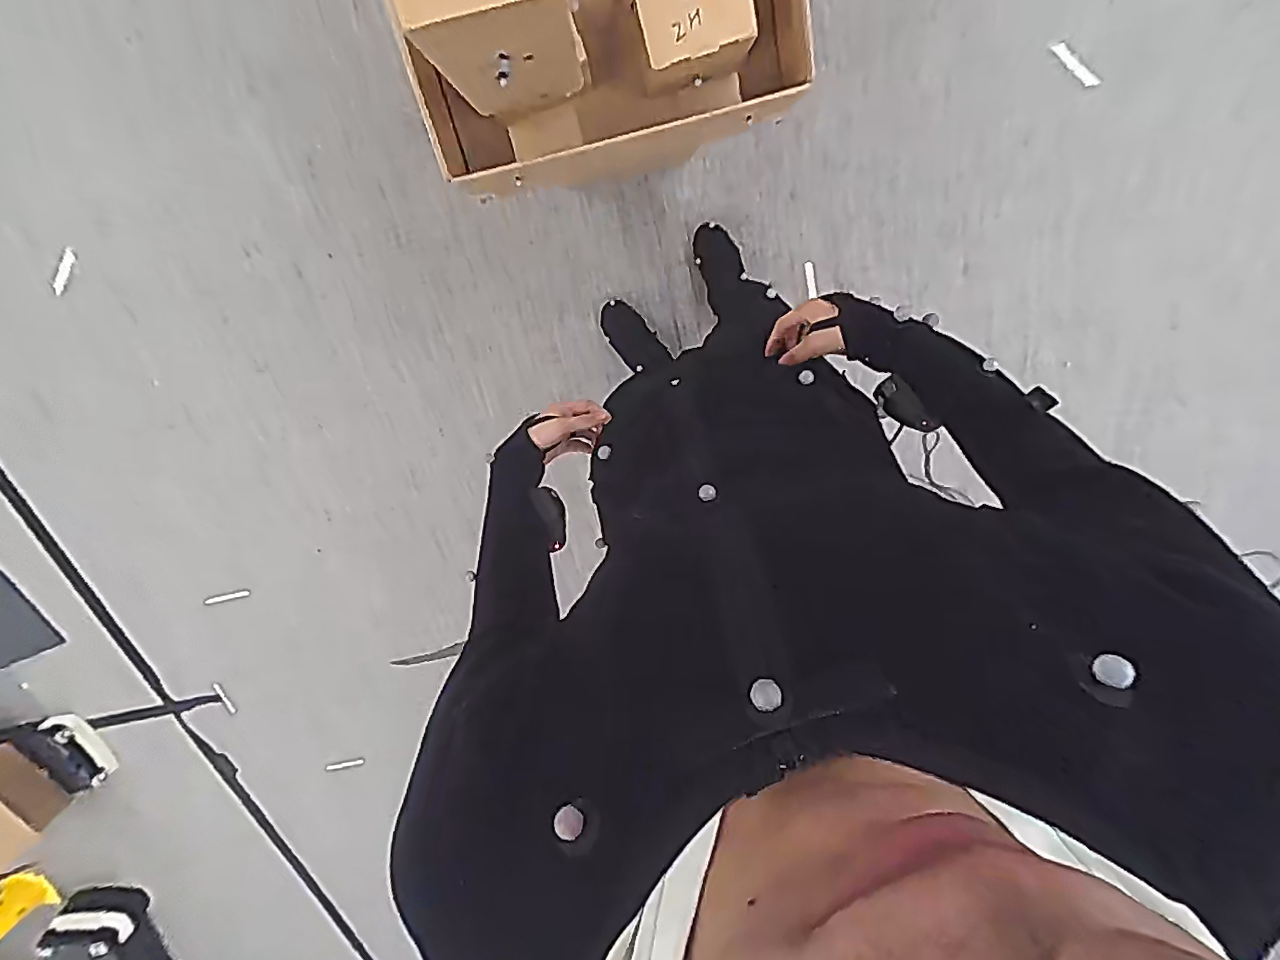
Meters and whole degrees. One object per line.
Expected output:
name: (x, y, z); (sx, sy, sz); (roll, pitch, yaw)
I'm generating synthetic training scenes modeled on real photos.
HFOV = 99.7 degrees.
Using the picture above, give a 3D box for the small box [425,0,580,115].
small box: (-0.183, -0.623, 0.717); (0.168, 0.176, 0.179); (-13, 111, 3)
